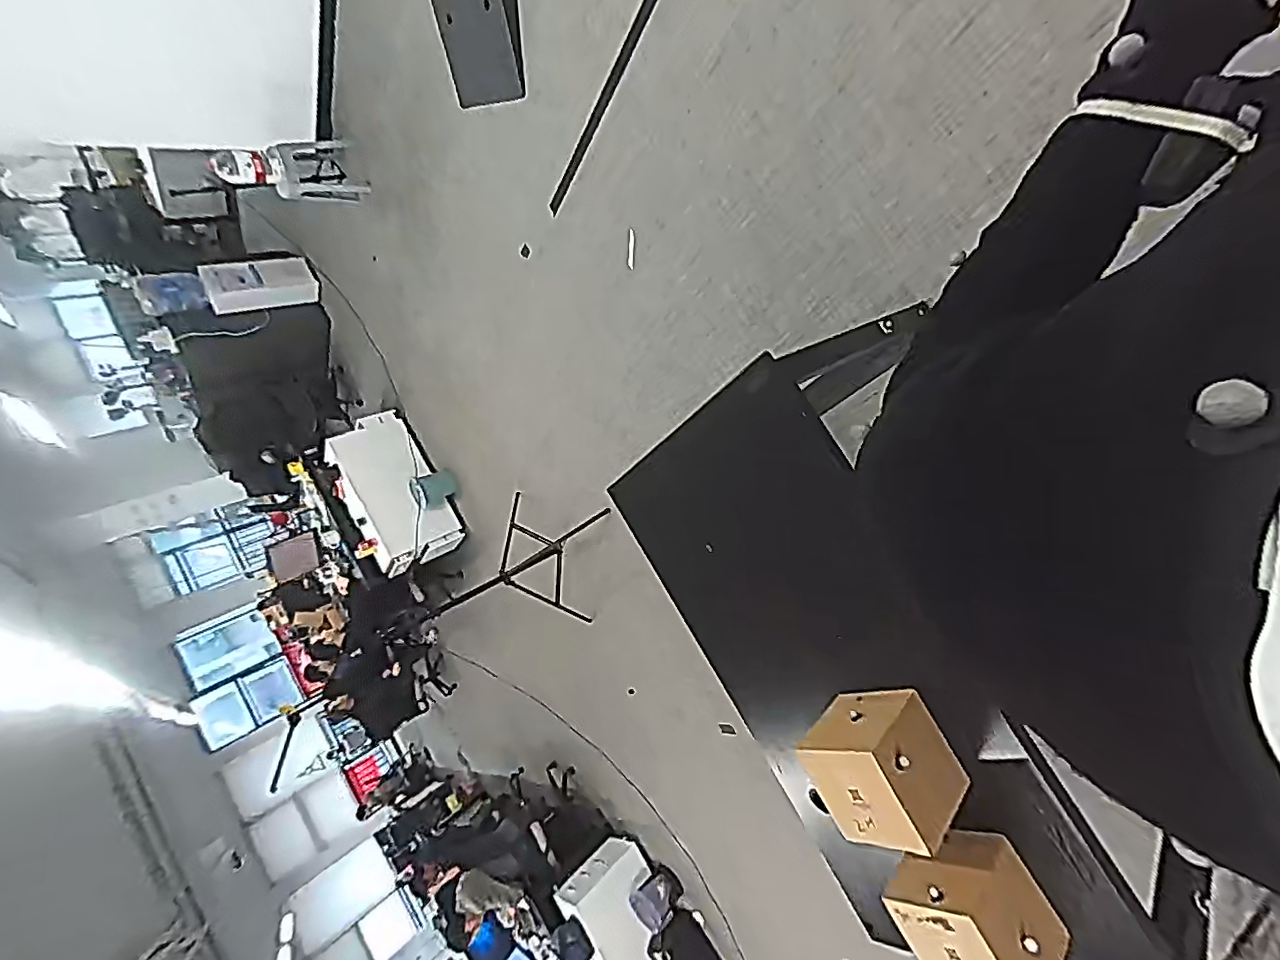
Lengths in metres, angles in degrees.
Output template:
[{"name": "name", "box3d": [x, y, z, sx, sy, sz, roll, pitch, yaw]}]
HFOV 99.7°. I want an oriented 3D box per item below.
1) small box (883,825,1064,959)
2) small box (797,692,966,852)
[{"name": "small box", "box3d": [0.553, 0.714, 0.896, 0.179, 0.176, 0.168, 58, 142, 8]}, {"name": "small box", "box3d": [0.413, 0.482, 0.925, 0.179, 0.176, 0.168, 60, 143, 5]}]
